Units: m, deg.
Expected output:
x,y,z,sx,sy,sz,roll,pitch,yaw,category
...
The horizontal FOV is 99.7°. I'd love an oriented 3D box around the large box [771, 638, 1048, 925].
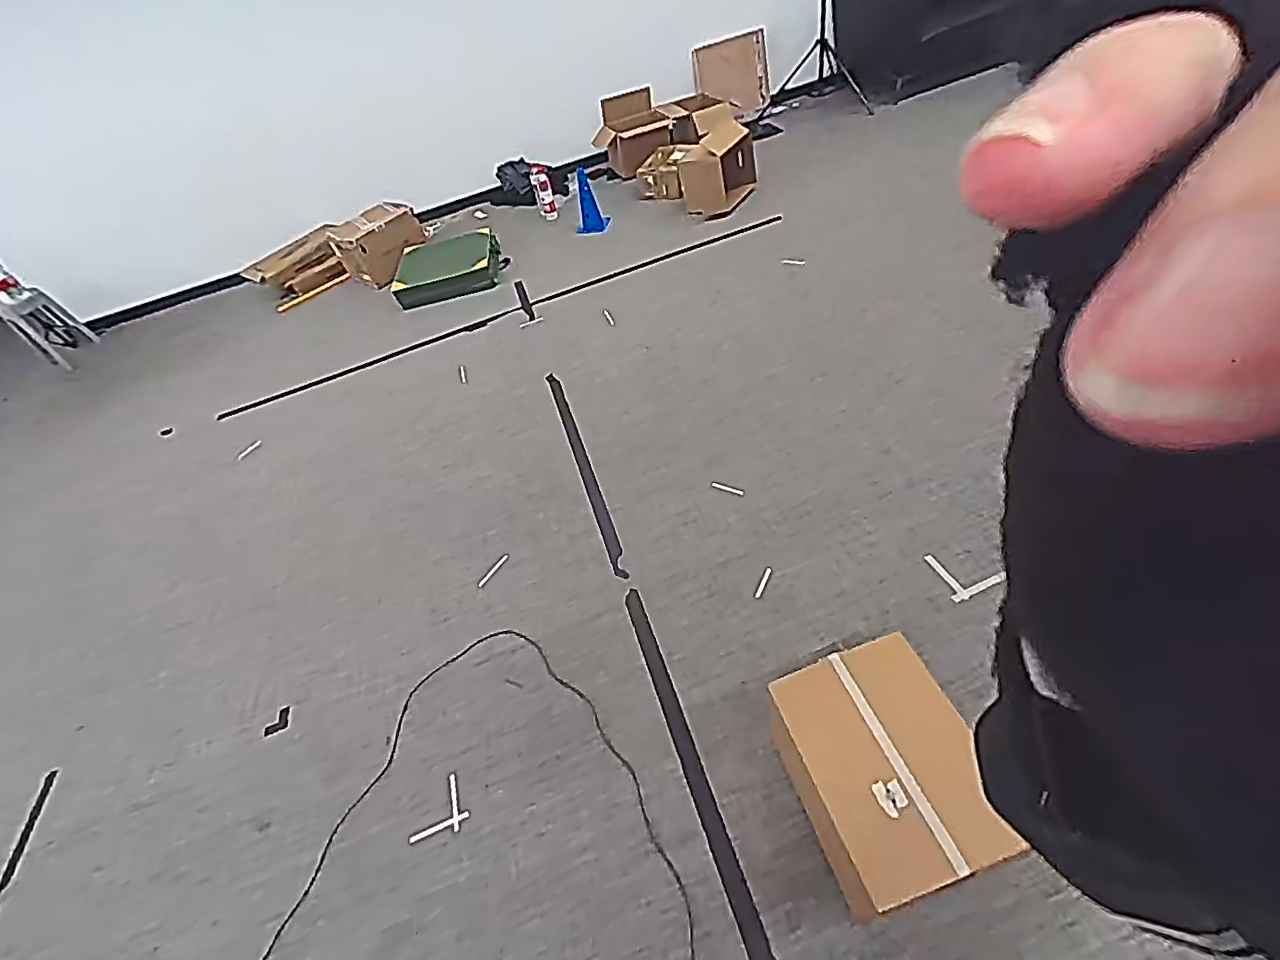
x,y,z,sx,sy,sz,roll,pitch,yaw,category
0.503,0.618,1.126,0.320,0.320,0.408,-21,47,-4,large box
